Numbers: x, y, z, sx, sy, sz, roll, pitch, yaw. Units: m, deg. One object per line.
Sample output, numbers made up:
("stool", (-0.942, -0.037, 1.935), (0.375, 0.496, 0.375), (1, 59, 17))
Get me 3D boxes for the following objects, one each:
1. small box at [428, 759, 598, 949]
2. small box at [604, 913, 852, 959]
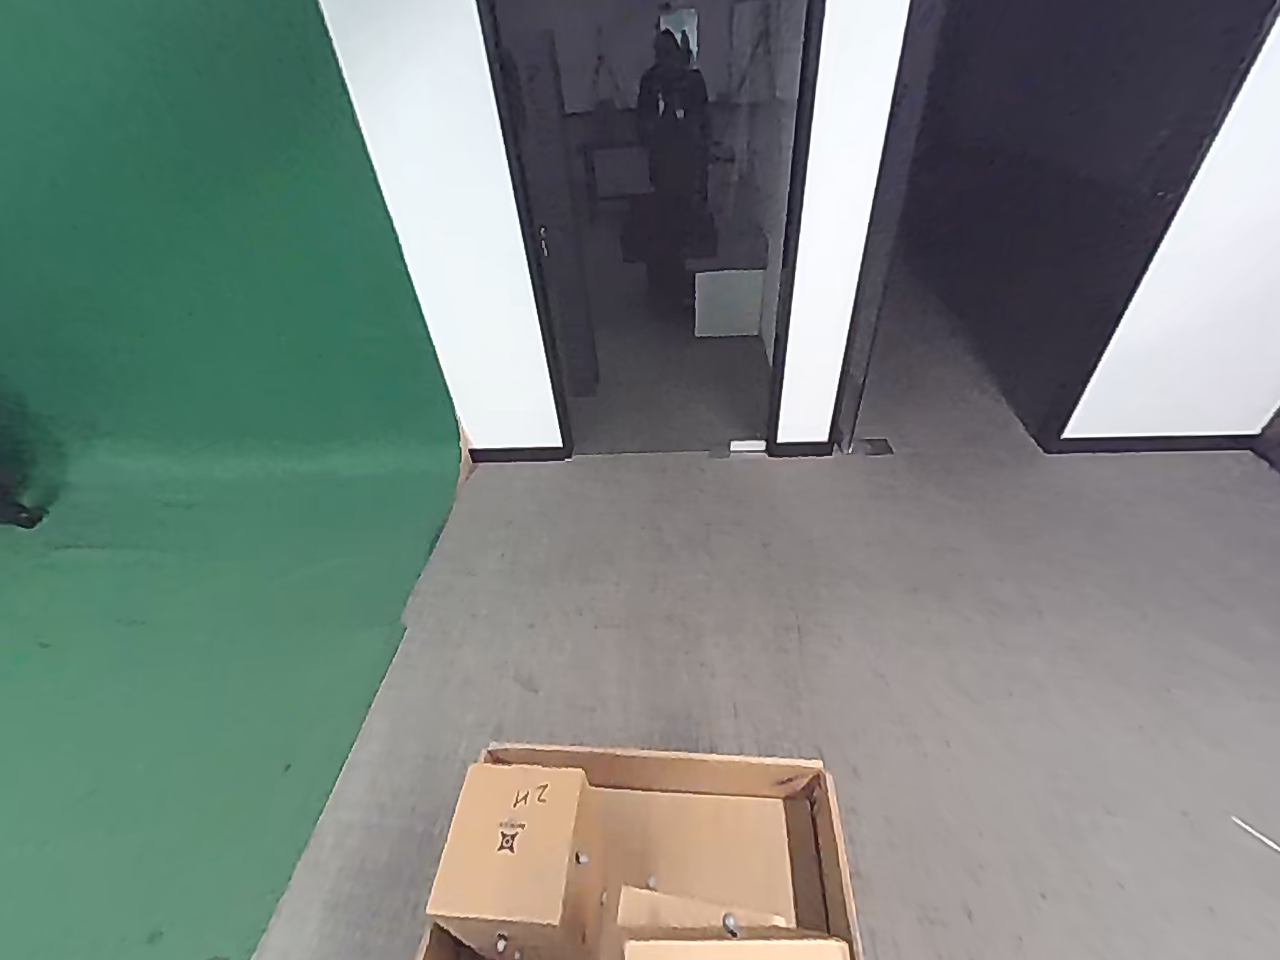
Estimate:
("small box", (-0.156, 0.512, 0.741), (0.168, 0.176, 0.179), (0, 40, 7))
("small box", (0.061, 0.447, 0.421), (0.179, 0.176, 0.168), (5, 51, -5))
